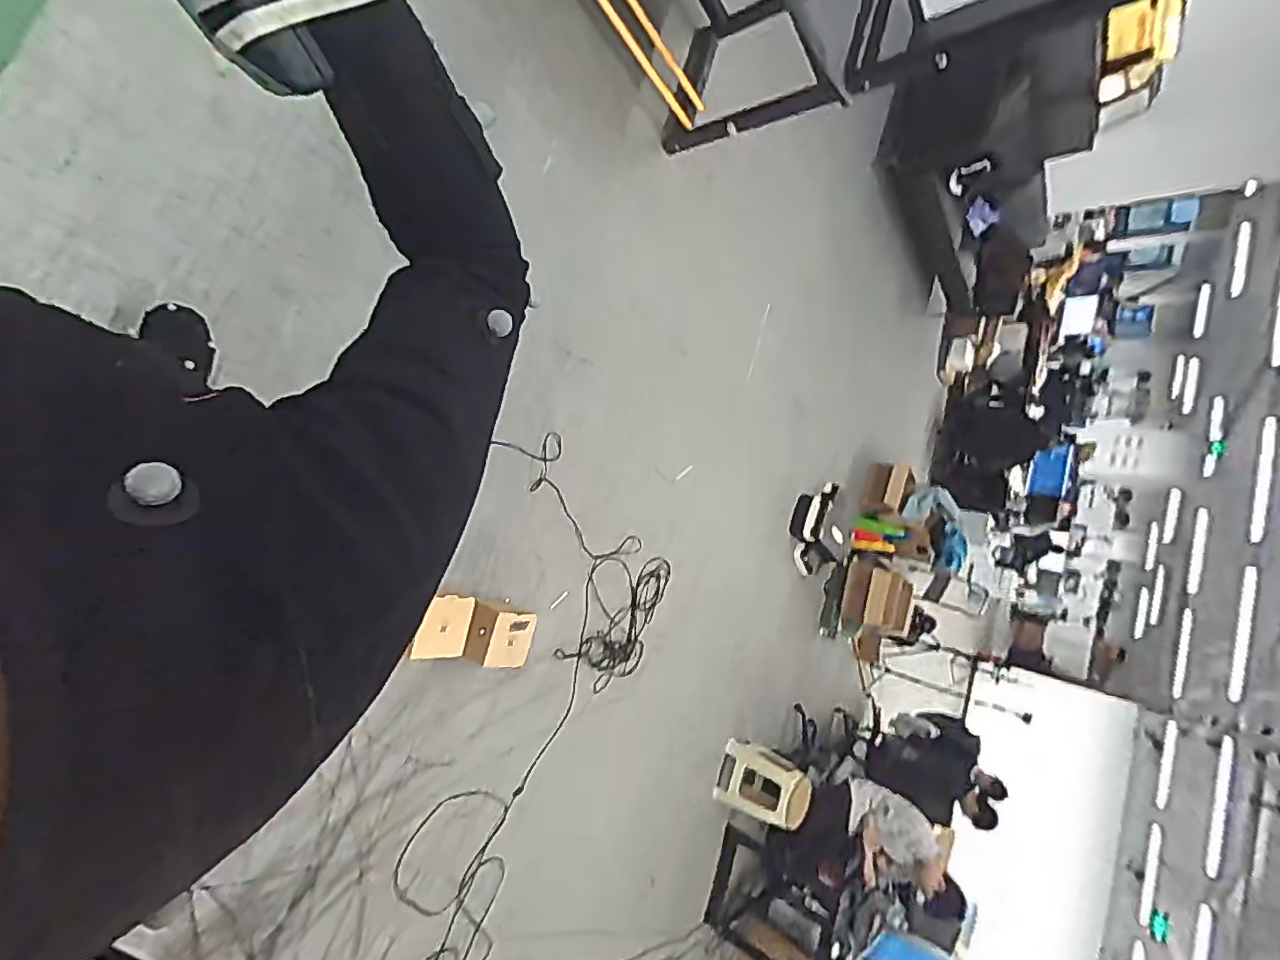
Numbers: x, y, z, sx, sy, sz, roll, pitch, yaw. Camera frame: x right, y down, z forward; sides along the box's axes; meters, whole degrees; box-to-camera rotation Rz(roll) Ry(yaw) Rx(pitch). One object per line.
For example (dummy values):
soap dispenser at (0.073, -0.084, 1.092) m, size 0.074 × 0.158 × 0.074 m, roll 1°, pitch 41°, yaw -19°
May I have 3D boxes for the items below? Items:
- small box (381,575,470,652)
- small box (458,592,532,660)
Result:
small box at (-0.633, 0.389, 1.587) m, size 0.168 × 0.176 × 0.179 m, roll 18°, pitch 84°, yaw -51°
small box at (-0.489, 0.479, 1.778) m, size 0.168 × 0.176 × 0.179 m, roll 22°, pitch 82°, yaw -50°
